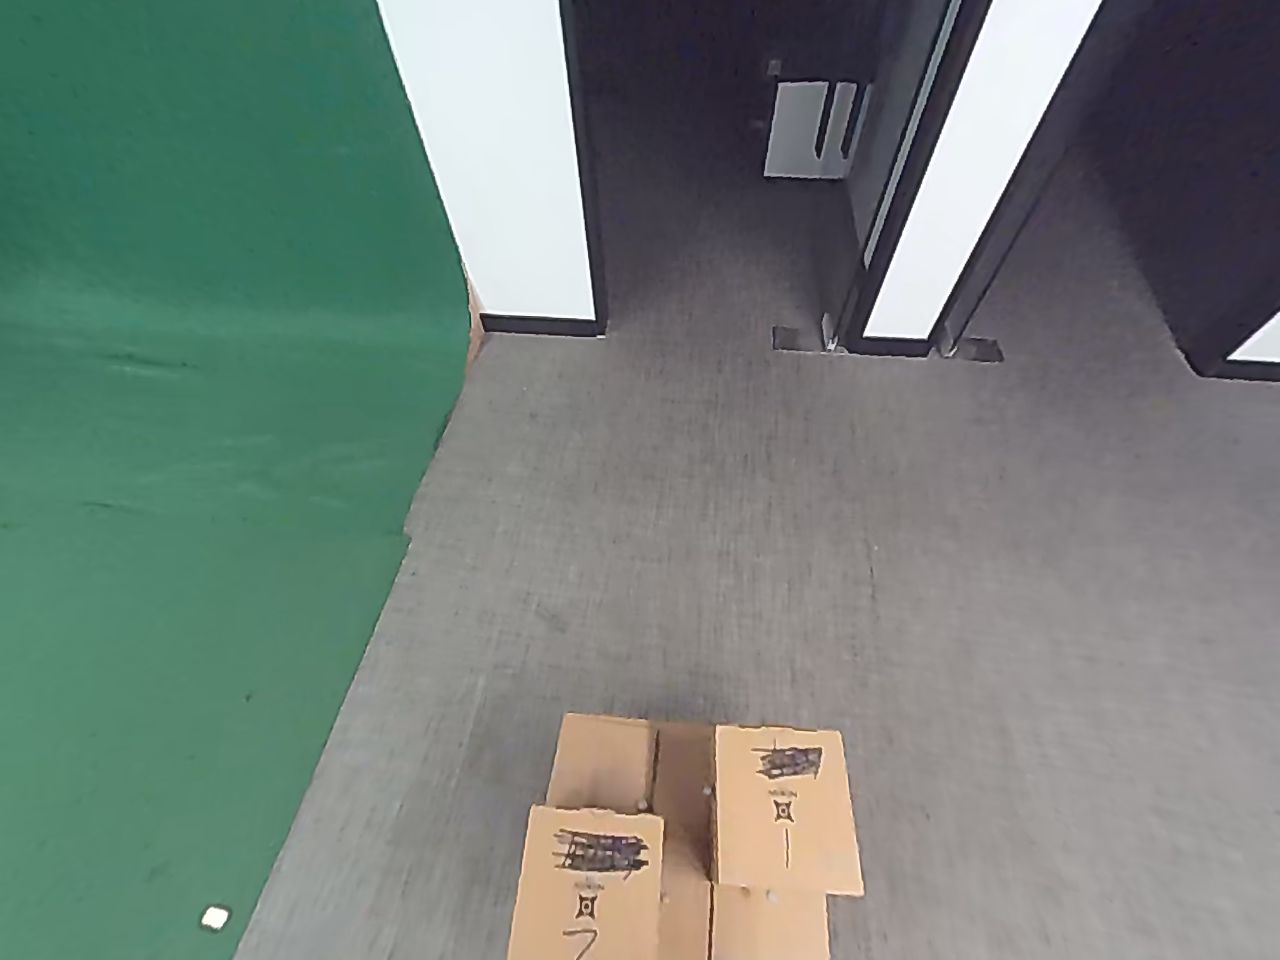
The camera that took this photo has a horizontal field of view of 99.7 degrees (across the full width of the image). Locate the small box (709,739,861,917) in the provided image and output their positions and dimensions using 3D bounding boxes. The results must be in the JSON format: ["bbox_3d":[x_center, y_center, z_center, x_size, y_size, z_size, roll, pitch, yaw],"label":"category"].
[{"bbox_3d":[0.179,0.464,0.728,0.168,0.176,0.179,1,55,5],"label":"small box"}]
